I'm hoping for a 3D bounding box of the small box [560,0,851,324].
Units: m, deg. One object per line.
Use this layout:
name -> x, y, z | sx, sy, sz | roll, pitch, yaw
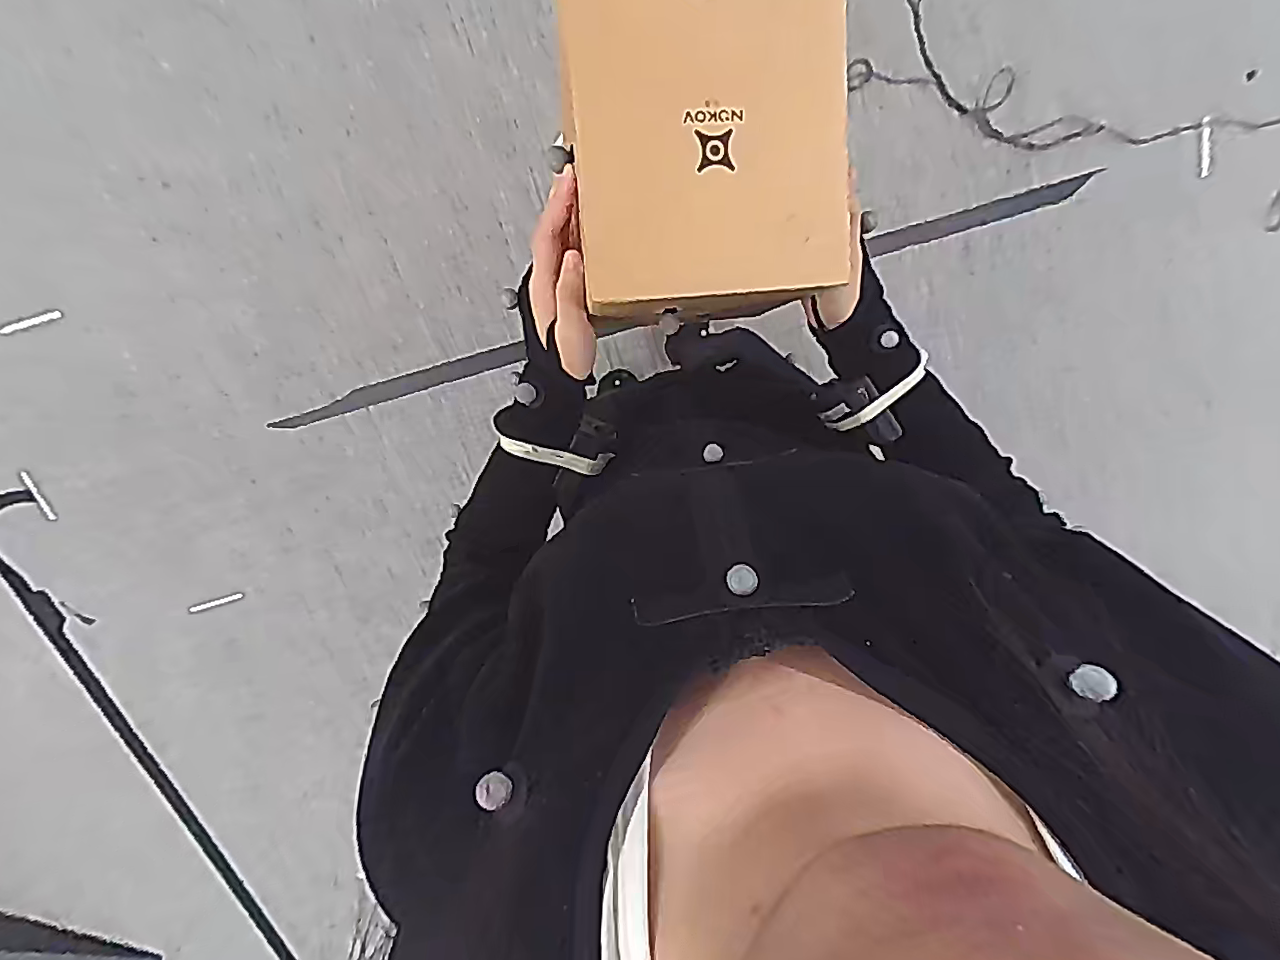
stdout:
small box -> 0.036, -0.214, 0.396 | 0.168, 0.176, 0.179 | -7, 99, -6
